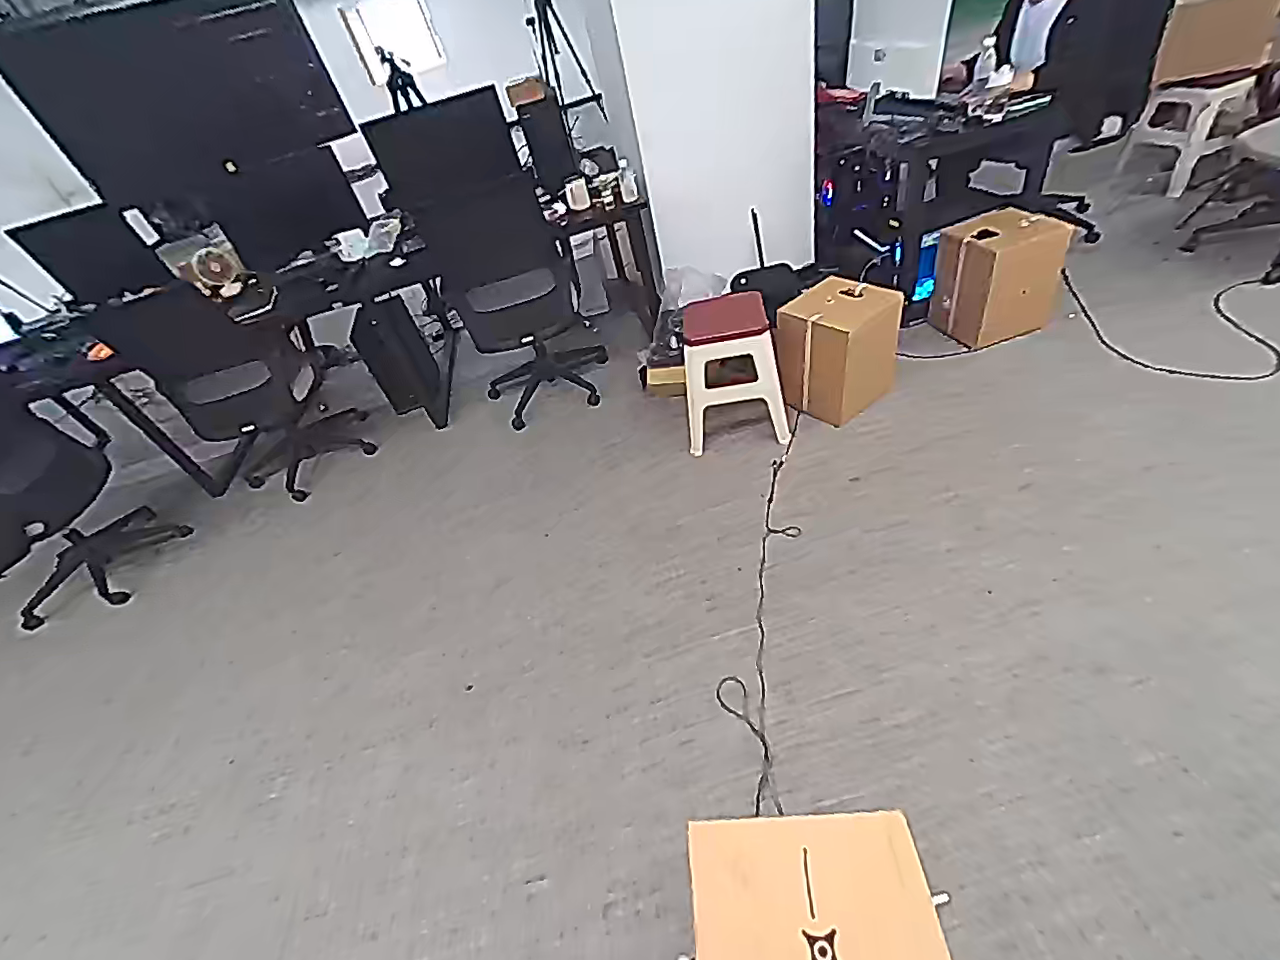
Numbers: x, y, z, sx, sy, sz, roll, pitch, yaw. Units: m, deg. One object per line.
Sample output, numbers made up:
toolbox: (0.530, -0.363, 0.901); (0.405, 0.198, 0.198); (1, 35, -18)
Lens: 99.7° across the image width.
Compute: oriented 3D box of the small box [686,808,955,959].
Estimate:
small box: (0.123, 0.364, 0.397); (0.168, 0.176, 0.179); (-3, 44, 2)
